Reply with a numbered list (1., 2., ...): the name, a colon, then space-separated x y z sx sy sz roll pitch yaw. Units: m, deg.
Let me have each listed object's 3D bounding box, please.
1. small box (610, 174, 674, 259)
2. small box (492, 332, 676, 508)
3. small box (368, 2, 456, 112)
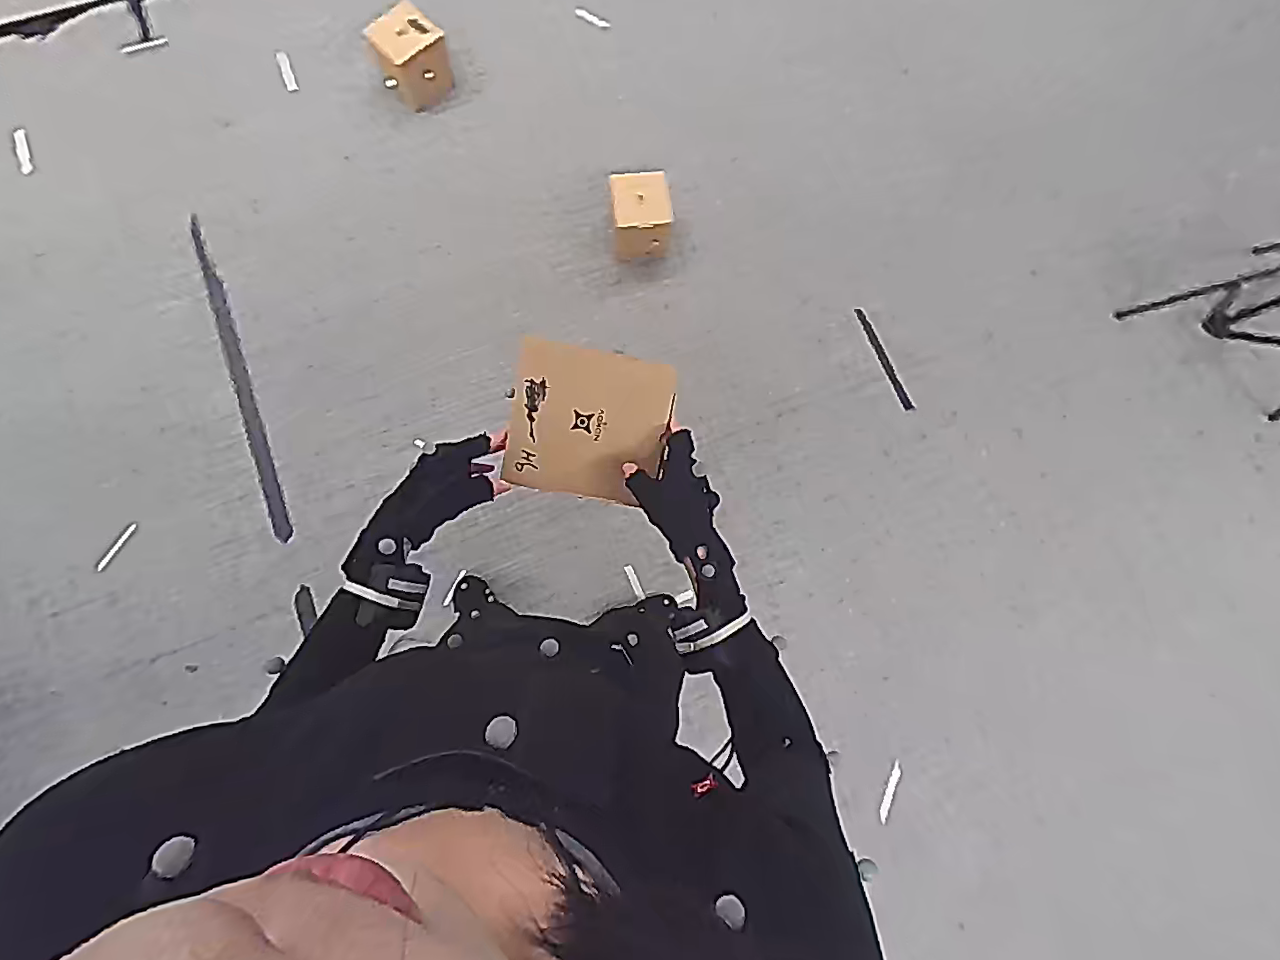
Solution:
1. small box: 0.003 -0.791 1.642 0.168 0.176 0.179 -8 79 -7
2. small box: -0.066 -0.070 0.664 0.179 0.176 0.168 10 94 -5
3. small box: -0.697 -1.311 1.684 0.179 0.176 0.168 -43 85 -9
